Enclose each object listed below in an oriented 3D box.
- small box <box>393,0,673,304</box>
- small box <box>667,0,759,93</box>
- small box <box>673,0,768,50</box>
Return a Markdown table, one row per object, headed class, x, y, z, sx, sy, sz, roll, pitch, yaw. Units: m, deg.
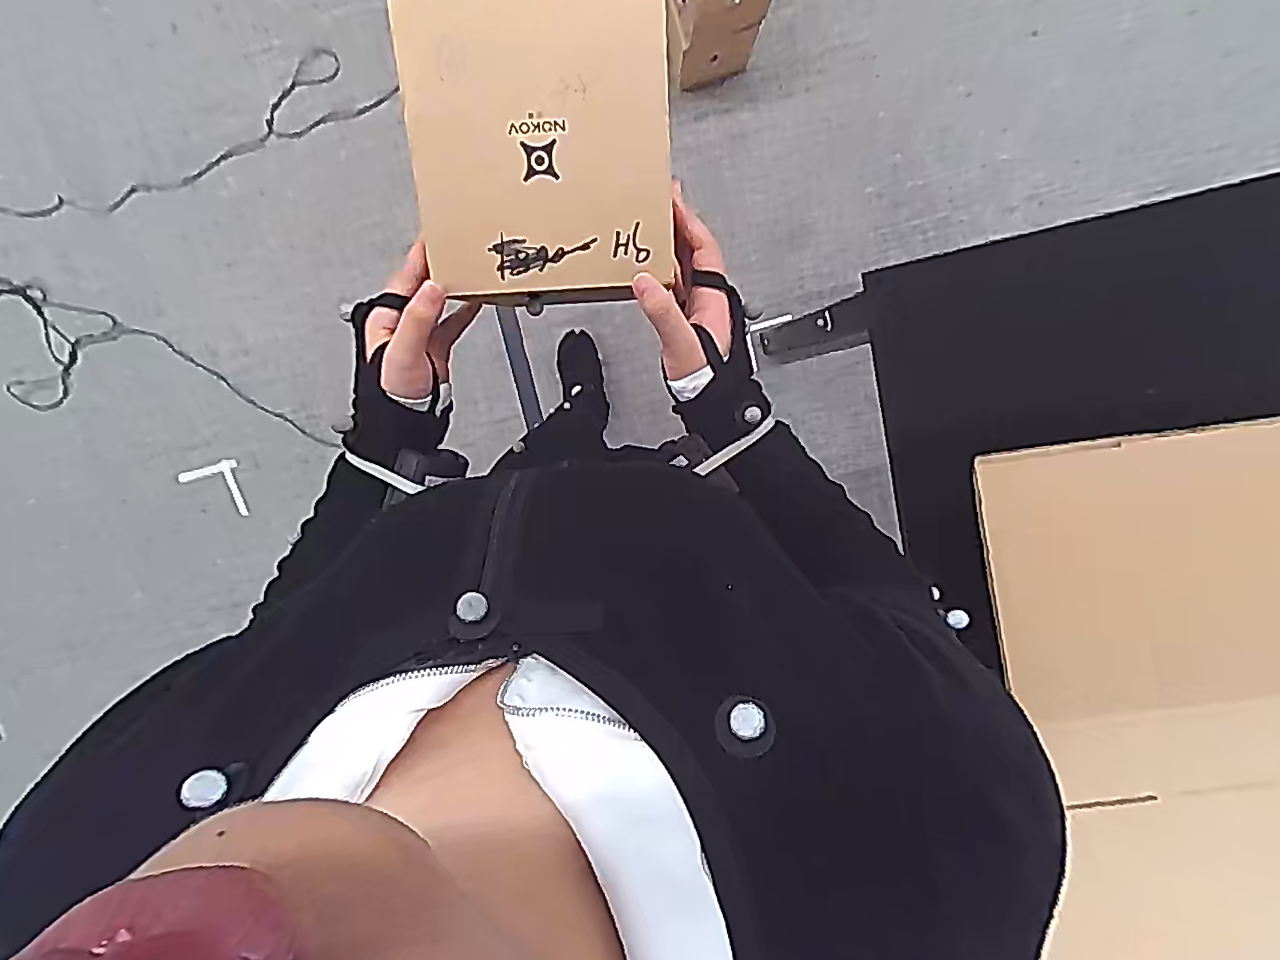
| class | x | y | z | sx | sy | sz | roll | pitch | yaw |
| --- | --- | --- | --- | --- | --- | --- | --- | --- | --- |
| small box | -0.064 | -0.236 | 0.416 | 0.168 | 0.176 | 0.179 | -3 | 105 | 1 |
| small box | 0.148 | -1.019 | 1.214 | 0.179 | 0.176 | 0.168 | -17 | 99 | 4 |
| small box | 0.153 | -0.995 | 1.053 | 0.179 | 0.176 | 0.168 | -20 | 100 | 2 |
